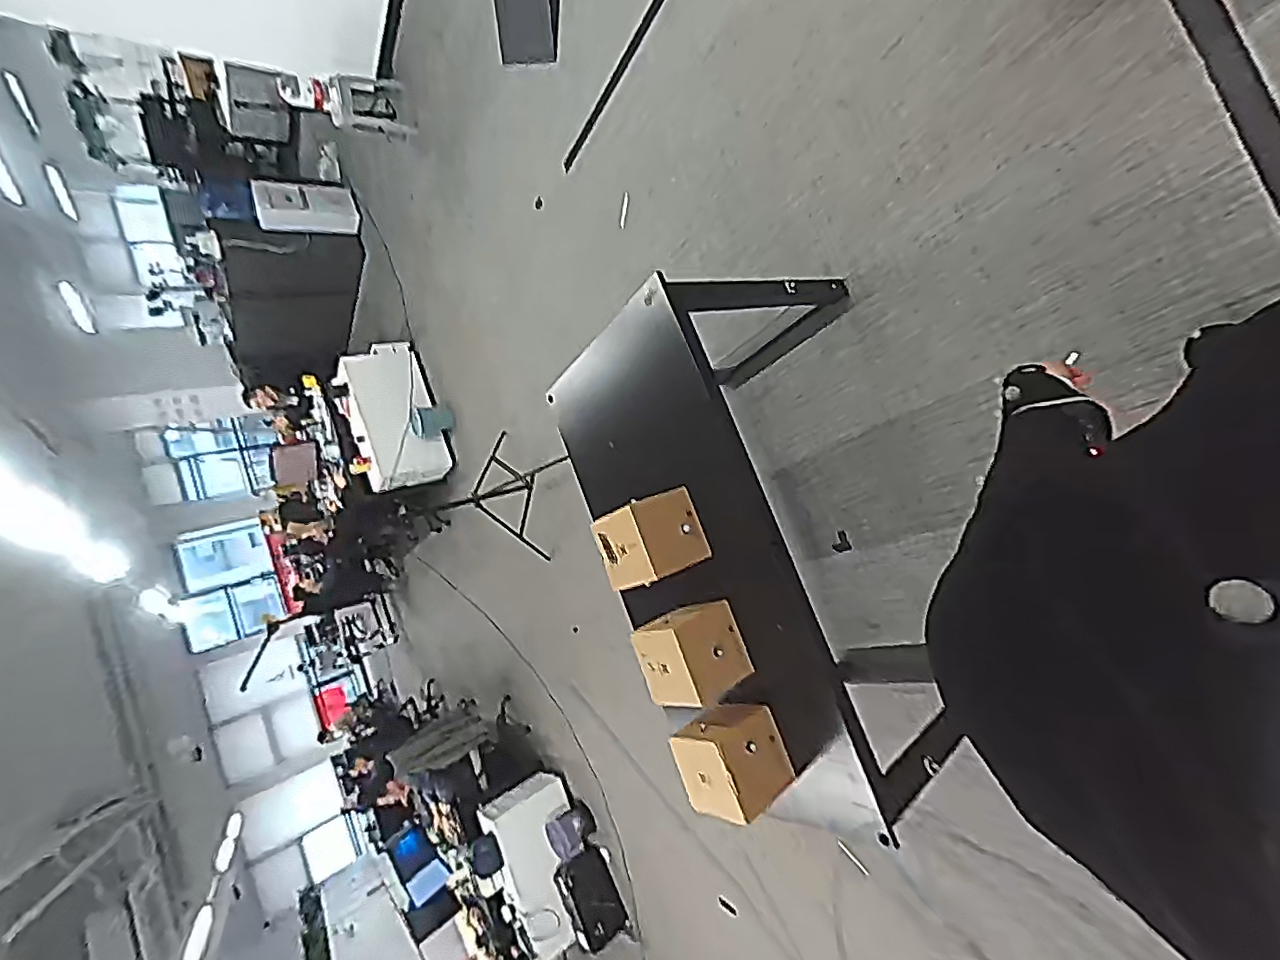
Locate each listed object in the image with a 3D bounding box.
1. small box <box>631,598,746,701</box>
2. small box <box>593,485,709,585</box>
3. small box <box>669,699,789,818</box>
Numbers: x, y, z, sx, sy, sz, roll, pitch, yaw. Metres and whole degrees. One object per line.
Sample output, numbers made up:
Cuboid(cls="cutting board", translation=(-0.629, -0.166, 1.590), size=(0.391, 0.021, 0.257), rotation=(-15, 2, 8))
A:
Cuboid(cls="small box", translation=(0.114, 0.373, 1.204), size=(0.179, 0.176, 0.168), rotation=(-29, 79, 53))
Cuboid(cls="small box", translation=(0.025, 0.124, 1.225), size=(0.179, 0.176, 0.168), rotation=(-29, 80, 53))
Cuboid(cls="small box", translation=(0.200, 0.595, 1.180), size=(0.179, 0.176, 0.168), rotation=(-31, 77, 54))
